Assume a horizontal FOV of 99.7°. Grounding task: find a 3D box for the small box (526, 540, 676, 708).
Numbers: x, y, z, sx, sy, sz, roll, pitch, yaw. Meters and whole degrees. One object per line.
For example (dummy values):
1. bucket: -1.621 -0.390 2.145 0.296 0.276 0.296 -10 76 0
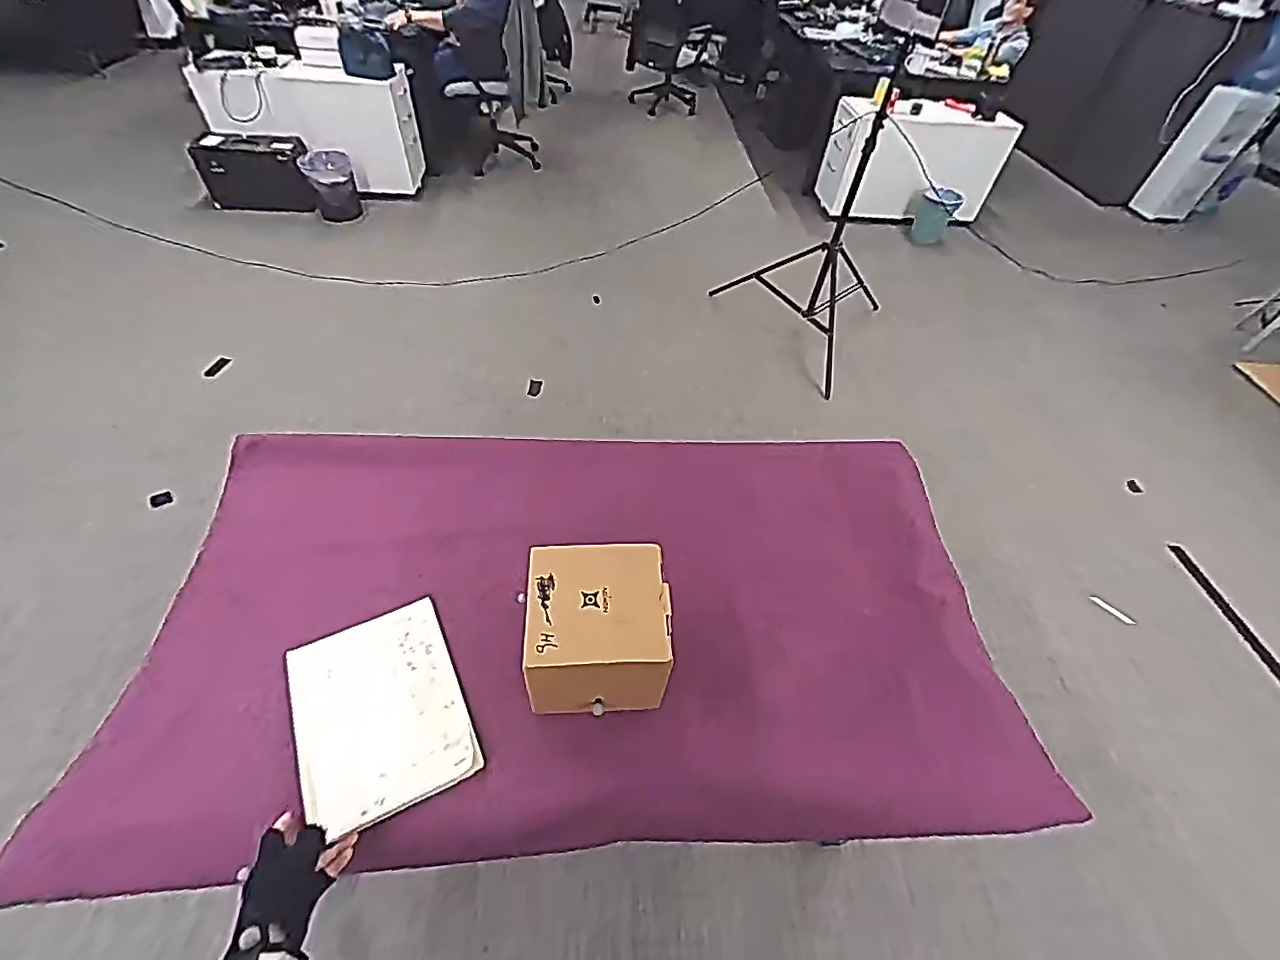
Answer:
1. small box: -0.056 0.197 0.732 0.179 0.176 0.168 0 49 -6
